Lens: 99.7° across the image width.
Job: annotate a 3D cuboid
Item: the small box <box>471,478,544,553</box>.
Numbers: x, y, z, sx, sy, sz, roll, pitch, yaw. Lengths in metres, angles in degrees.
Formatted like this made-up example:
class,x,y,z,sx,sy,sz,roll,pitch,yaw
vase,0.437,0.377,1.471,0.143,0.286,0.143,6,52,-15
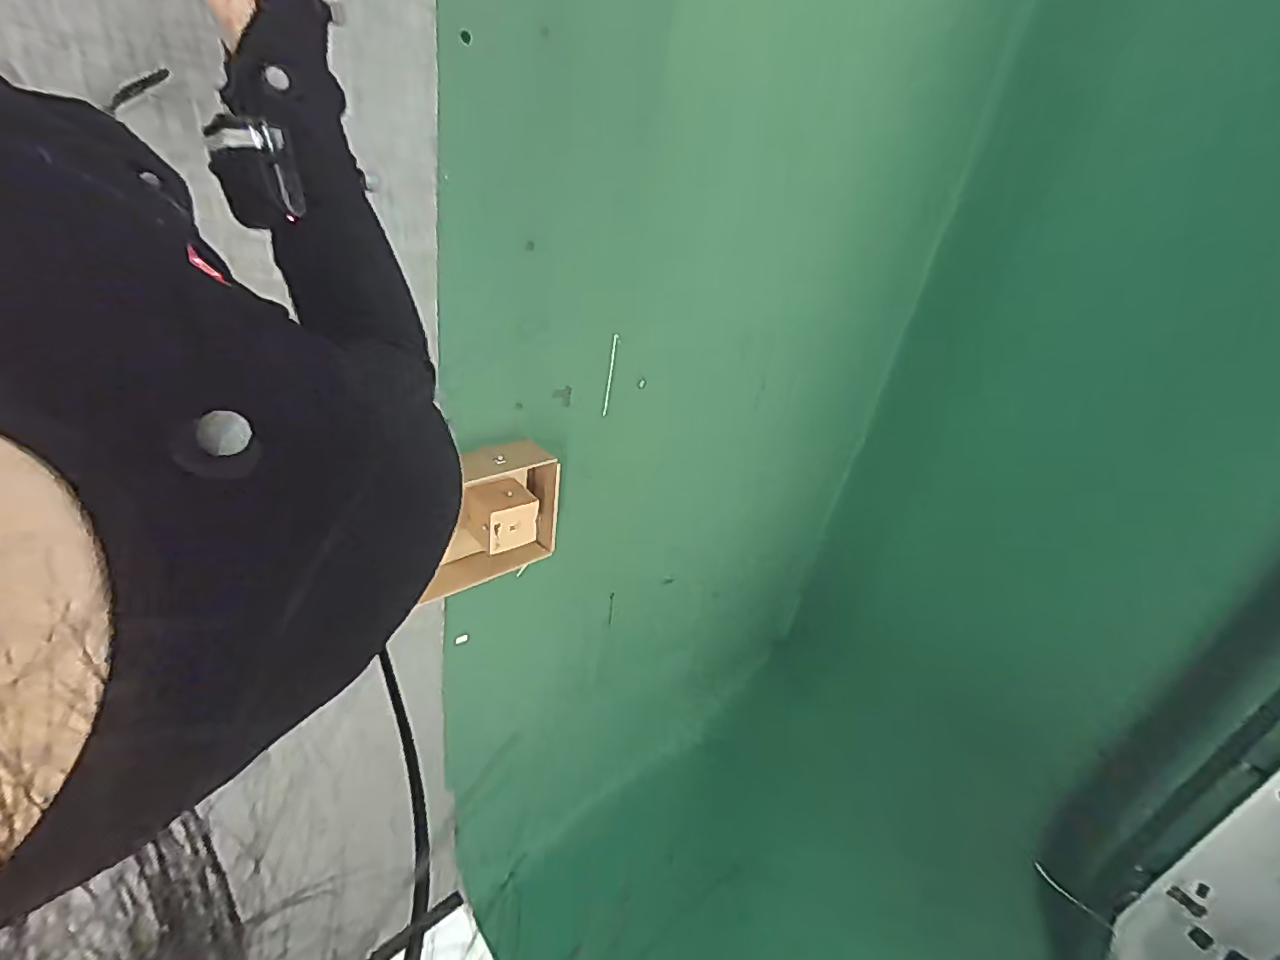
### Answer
class,x,y,z,sx,sy,sz,roll,pitch,yaw
small box,-0.442,0.110,1.796,0.179,0.176,0.168,-16,128,-39
